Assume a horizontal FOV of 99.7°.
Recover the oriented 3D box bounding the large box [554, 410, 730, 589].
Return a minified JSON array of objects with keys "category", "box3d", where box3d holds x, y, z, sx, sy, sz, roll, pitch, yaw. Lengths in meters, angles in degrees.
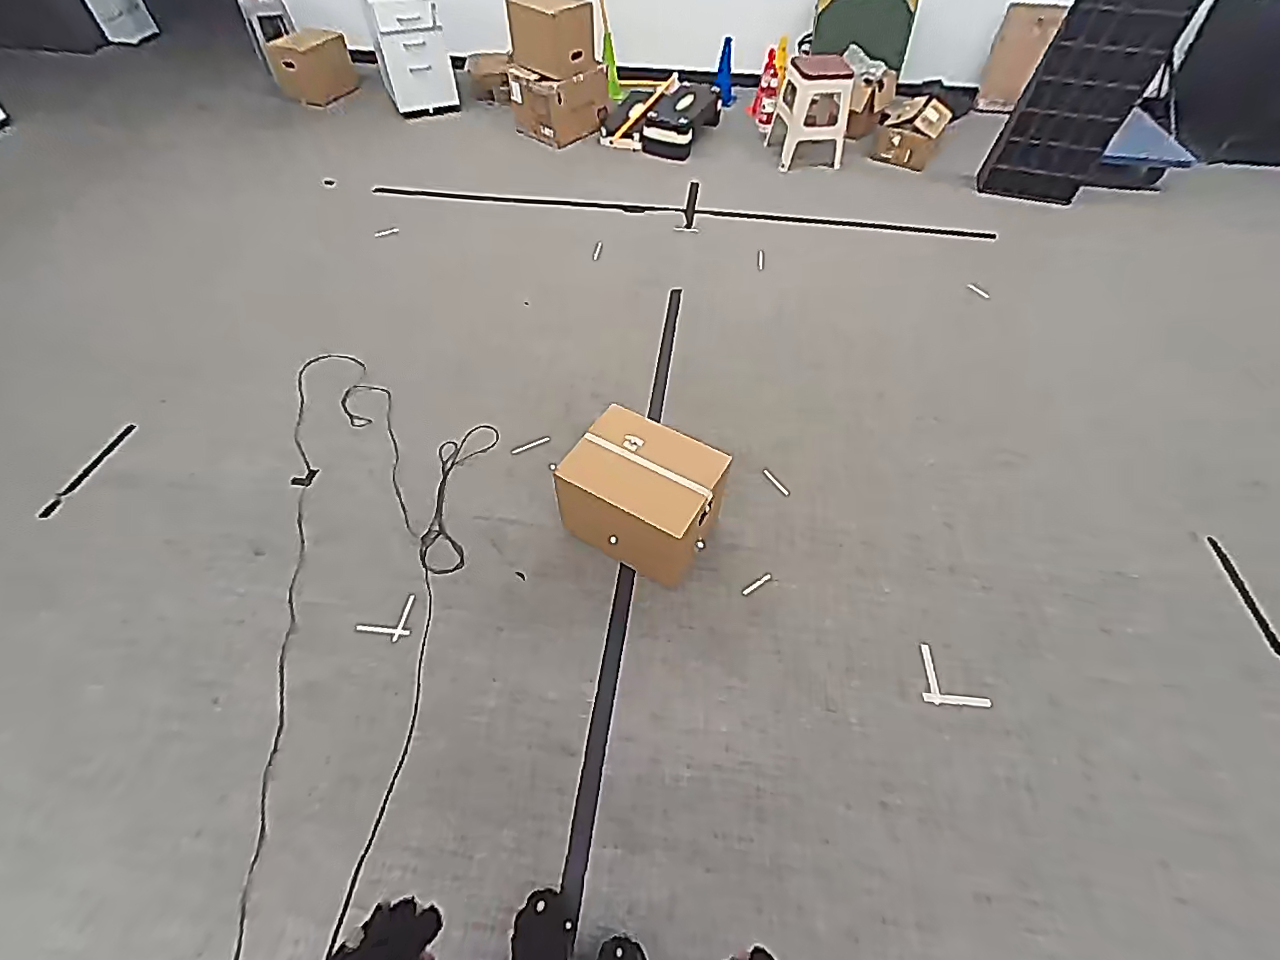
[{"category":"large box","box3d":[0.010,0.059,1.623,0.408,0.320,0.320,26,57,18]}]
